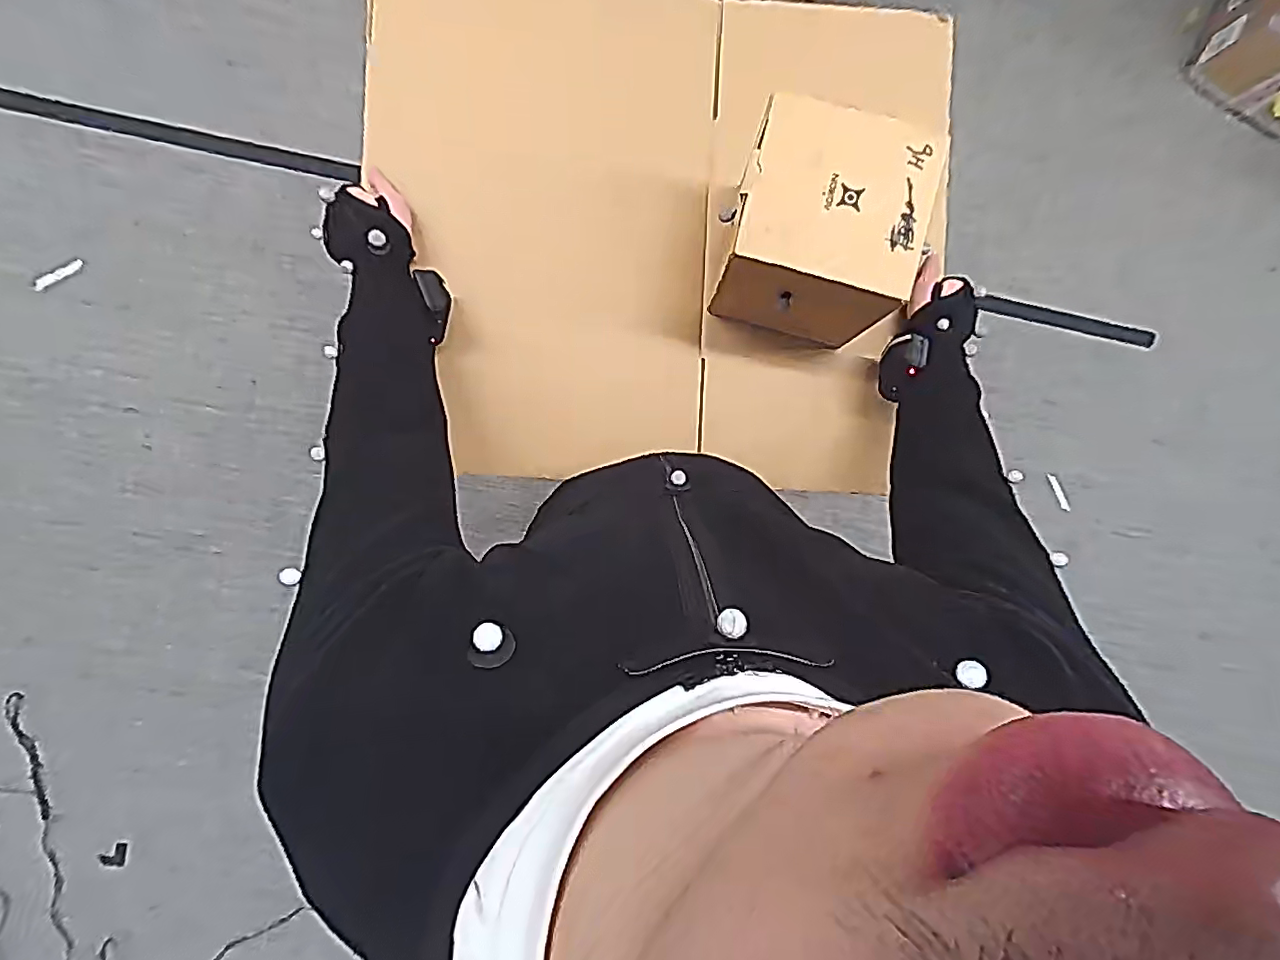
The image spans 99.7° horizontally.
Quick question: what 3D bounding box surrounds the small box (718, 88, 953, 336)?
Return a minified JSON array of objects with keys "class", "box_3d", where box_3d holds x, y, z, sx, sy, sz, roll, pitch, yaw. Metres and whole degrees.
[{"class":"small box","box_3d":[0.194,-0.274,0.593,0.179,0.176,0.168,15,89,0]}]
